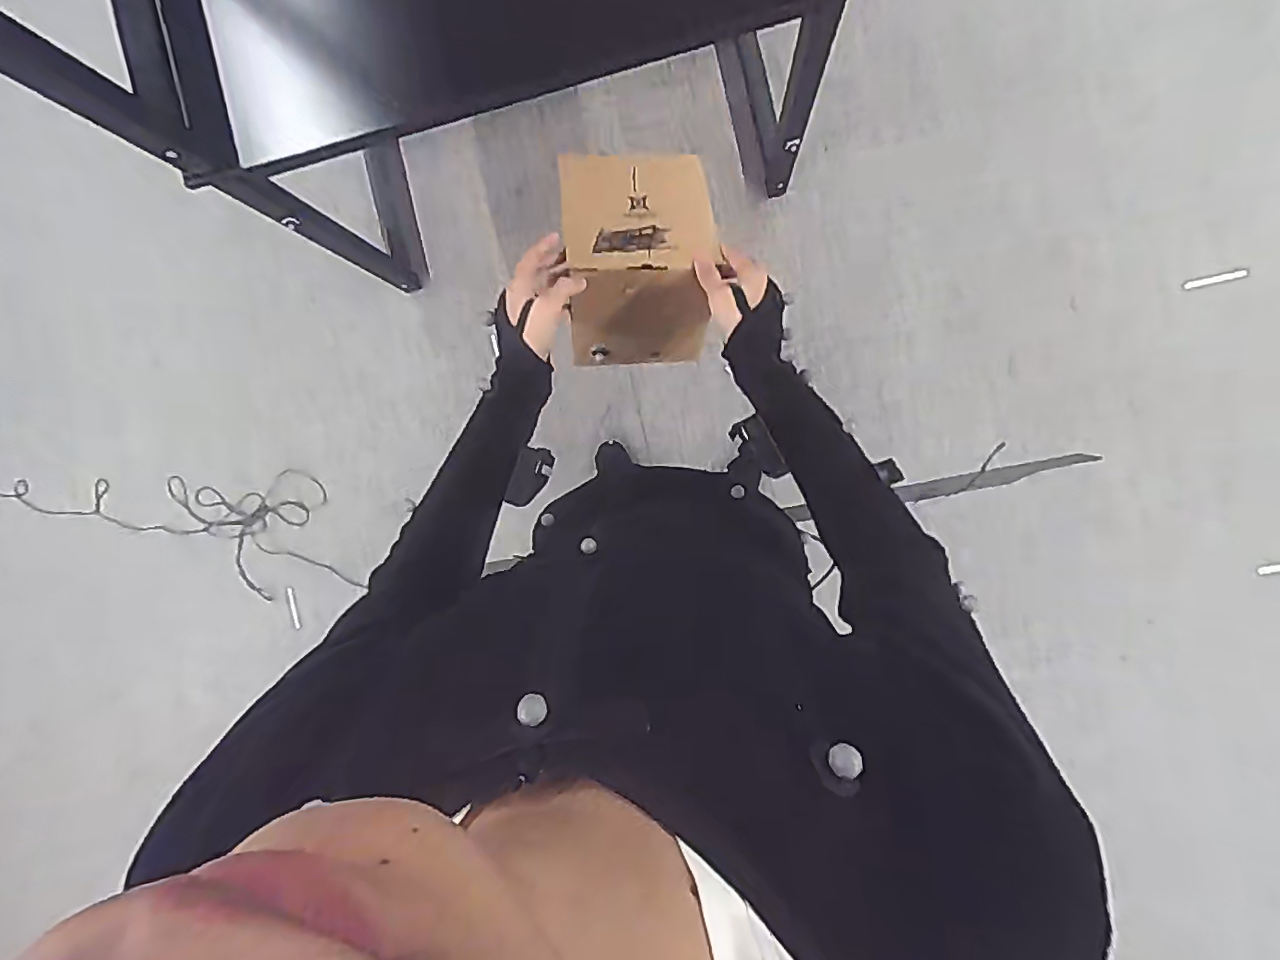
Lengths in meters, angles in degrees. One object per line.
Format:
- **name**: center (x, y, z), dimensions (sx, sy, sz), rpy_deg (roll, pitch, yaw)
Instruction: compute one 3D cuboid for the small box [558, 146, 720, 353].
- **small box**: center (-0.009, -0.269, 0.659), dimensions (0.168, 0.176, 0.179), rpy_deg (-4, 67, -6)
